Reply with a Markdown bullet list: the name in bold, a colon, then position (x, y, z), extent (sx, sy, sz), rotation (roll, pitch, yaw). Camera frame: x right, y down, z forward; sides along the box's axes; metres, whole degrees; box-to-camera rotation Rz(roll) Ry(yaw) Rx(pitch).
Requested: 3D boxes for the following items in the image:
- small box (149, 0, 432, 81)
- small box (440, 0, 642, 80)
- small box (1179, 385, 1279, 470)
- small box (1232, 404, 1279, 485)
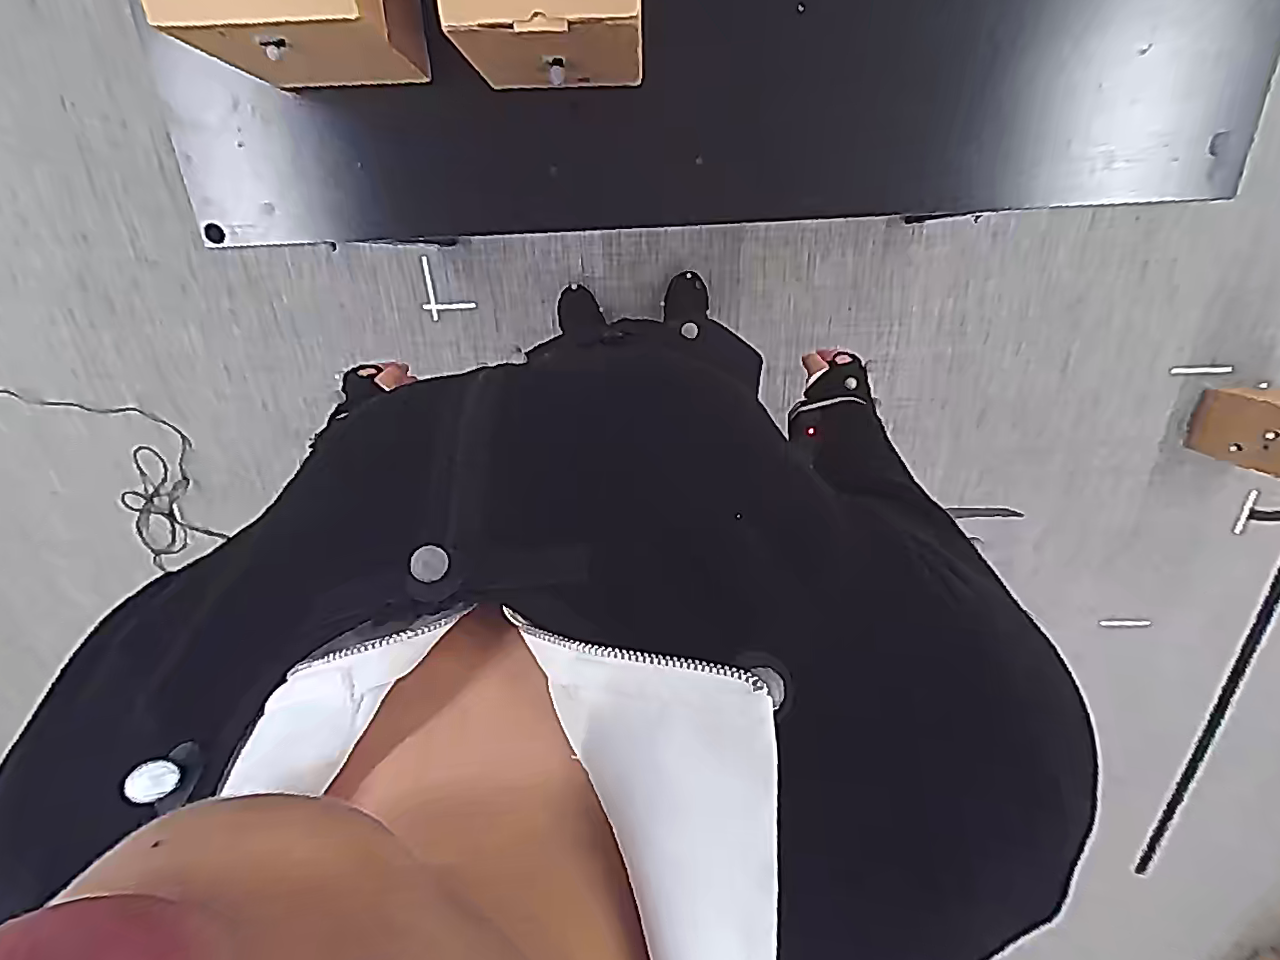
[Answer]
- **small box**: position (-0.314, -0.483, 0.487), extent (0.179, 0.176, 0.168), rotation (-2, 113, 0)
- **small box**: position (-0.081, -0.483, 0.485), extent (0.168, 0.176, 0.179), rotation (-1, 113, 0)
- **small box**: position (1.563, -0.139, 1.394), extent (0.168, 0.176, 0.179), rotation (-3, 112, 2)
- **small box**: position (1.556, -0.080, 1.243), extent (0.179, 0.176, 0.168), rotation (-2, 111, 3)
